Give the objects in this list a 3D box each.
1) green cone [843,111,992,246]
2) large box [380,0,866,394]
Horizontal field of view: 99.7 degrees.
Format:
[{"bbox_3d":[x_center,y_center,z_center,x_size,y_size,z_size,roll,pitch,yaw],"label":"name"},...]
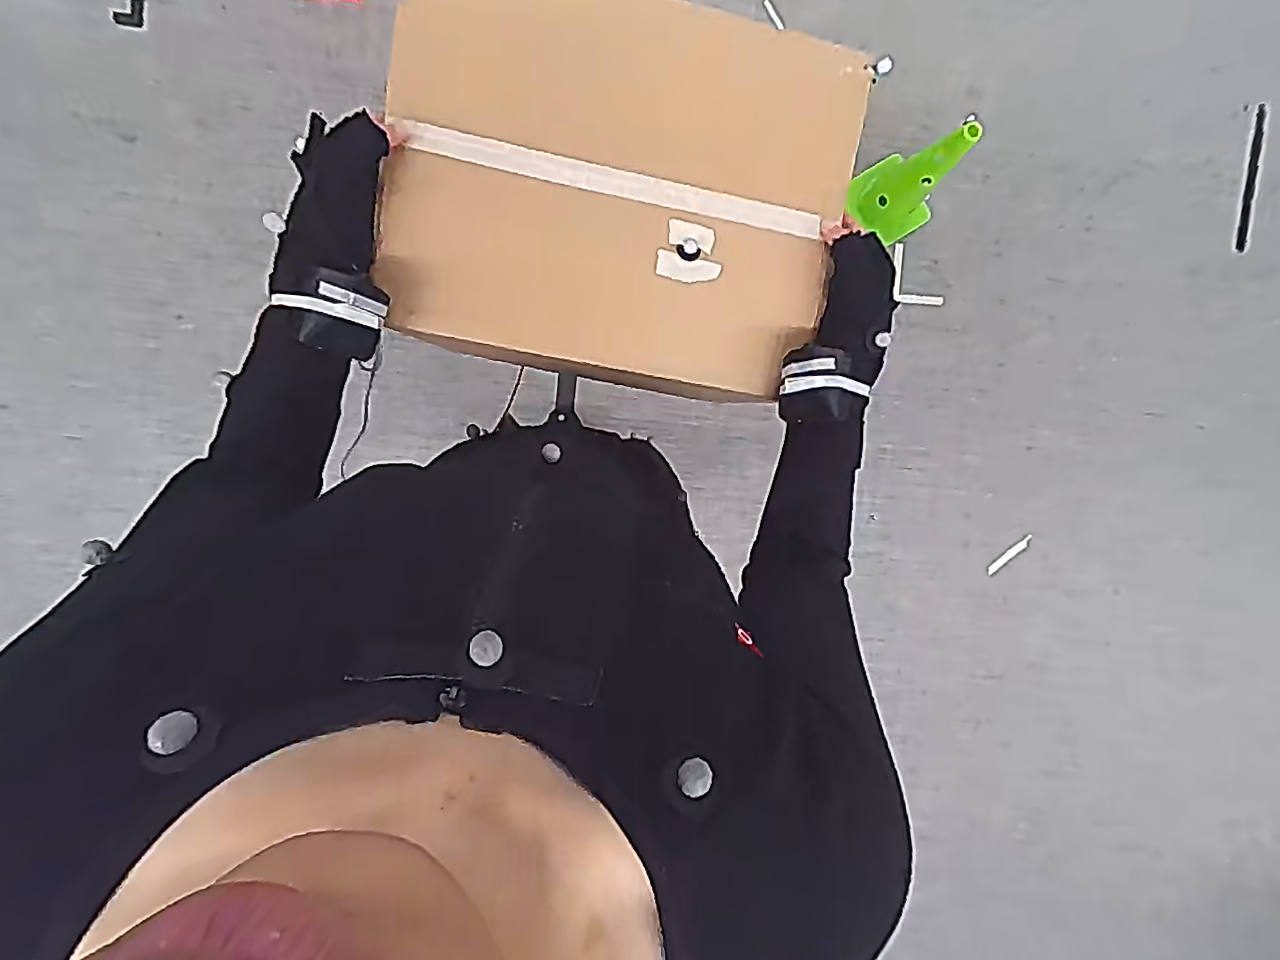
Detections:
[{"bbox_3d":[0.675,-0.737,1.270,0.202,0.368,0.200,-33,97,-2],"label":"green cone"},{"bbox_3d":[-0.030,-0.286,0.625,0.408,0.320,0.320,9,98,-8],"label":"large box"}]
